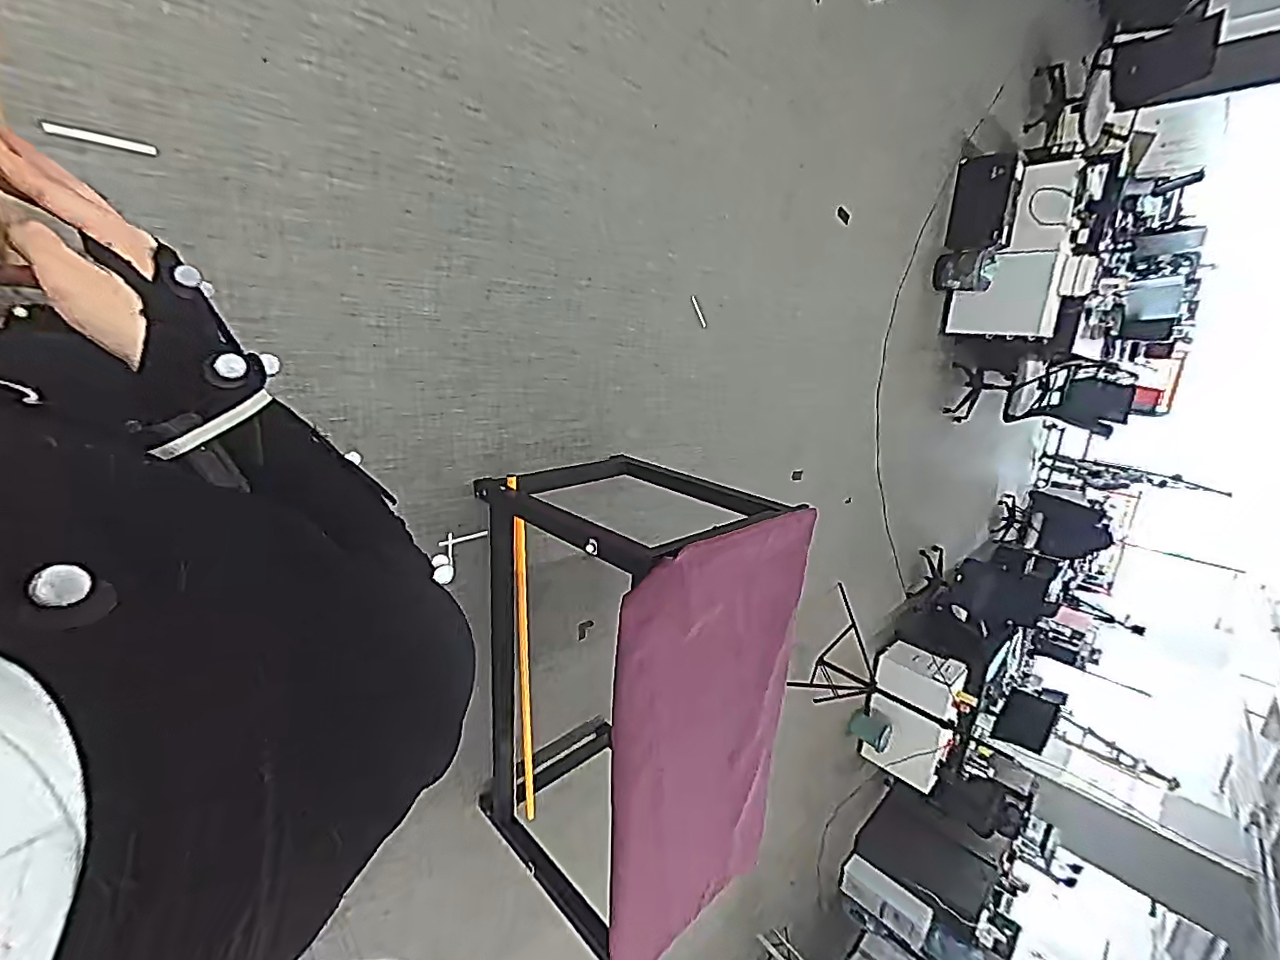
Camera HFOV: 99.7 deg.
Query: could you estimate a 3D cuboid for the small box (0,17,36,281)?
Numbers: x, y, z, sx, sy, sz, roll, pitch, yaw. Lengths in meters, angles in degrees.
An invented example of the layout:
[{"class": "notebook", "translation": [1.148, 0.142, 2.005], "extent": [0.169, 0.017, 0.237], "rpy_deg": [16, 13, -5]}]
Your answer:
[{"class": "small box", "translation": [-0.409, -0.197, 0.240], "extent": [0.168, 0.176, 0.179], "rpy_deg": [-7, 102, -43]}]
